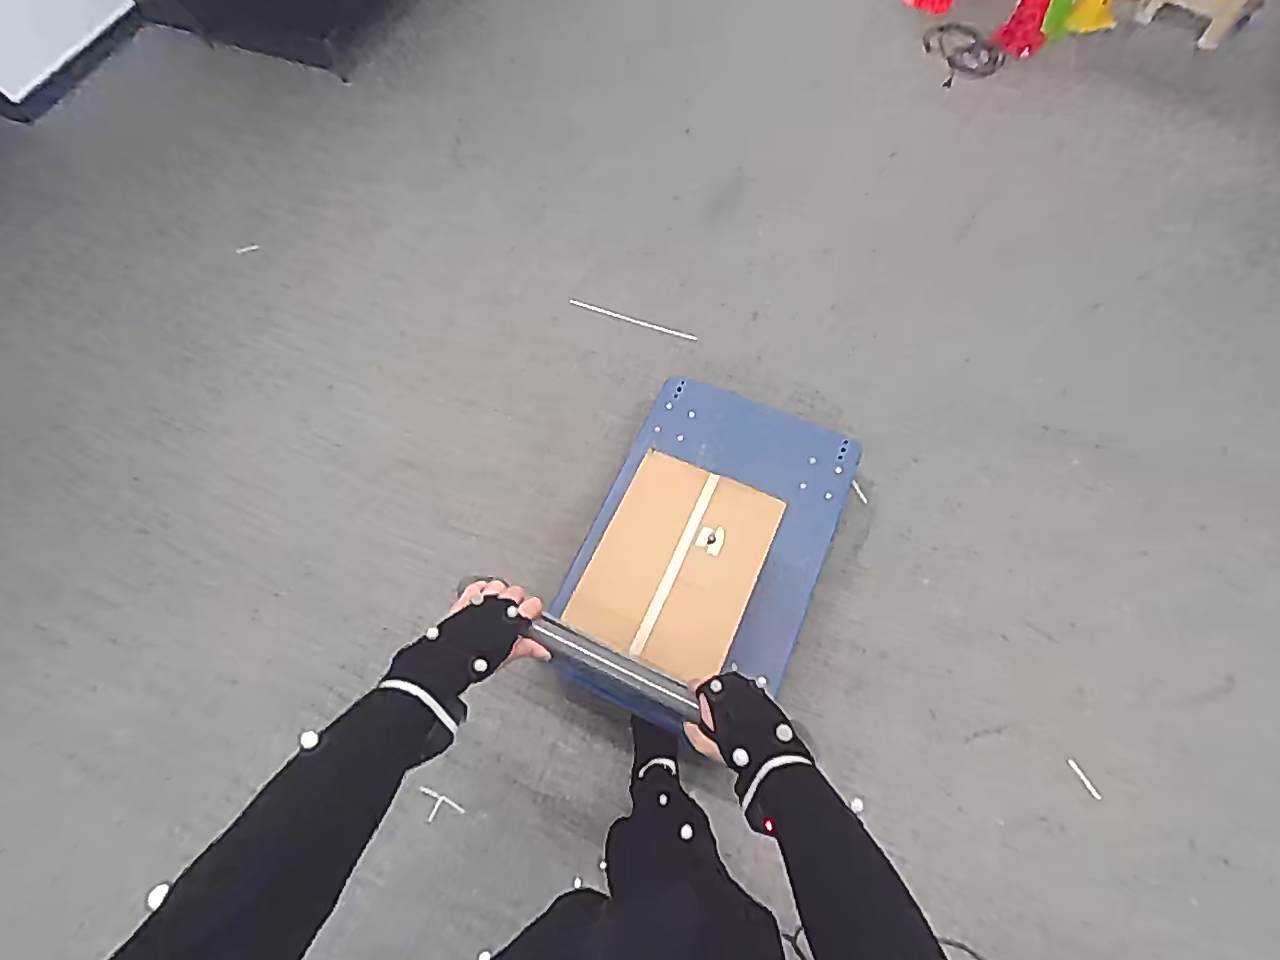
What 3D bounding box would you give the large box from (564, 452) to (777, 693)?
[{"bbox_3d":[0.077,0.219,1.222,0.320,0.320,0.408,23,70,12],"label":"large box"}]
